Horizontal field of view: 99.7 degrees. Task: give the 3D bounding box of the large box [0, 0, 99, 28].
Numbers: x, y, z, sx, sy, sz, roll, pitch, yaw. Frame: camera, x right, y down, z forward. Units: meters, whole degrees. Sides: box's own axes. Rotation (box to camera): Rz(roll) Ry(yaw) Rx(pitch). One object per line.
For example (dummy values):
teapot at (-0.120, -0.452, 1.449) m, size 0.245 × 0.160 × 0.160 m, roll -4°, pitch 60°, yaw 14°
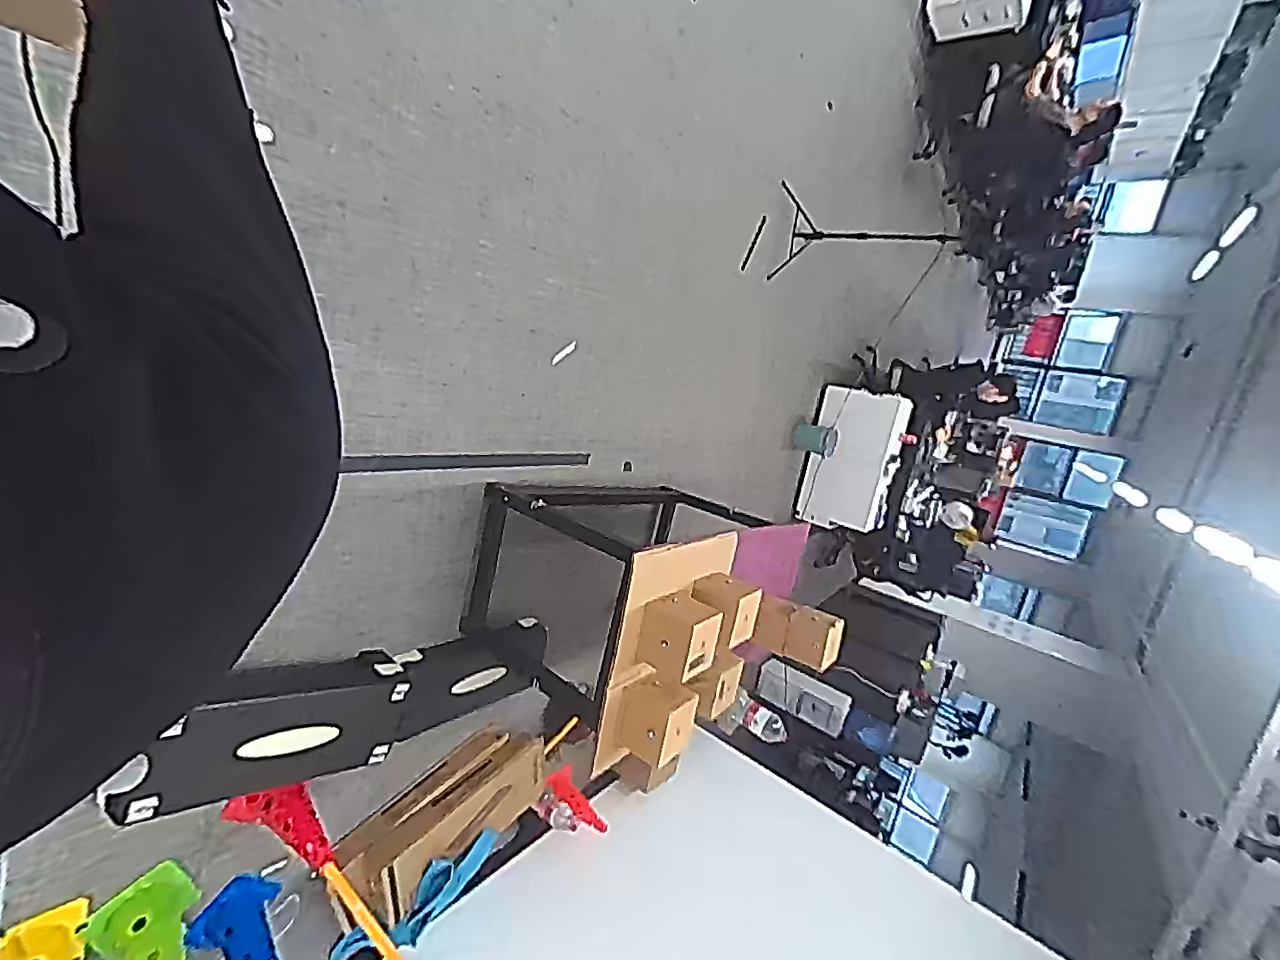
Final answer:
large box at (-0.603, -0.552, 0.304) m, size 0.408 × 0.320 × 0.320 m, roll -9°, pitch 114°, yaw -51°
